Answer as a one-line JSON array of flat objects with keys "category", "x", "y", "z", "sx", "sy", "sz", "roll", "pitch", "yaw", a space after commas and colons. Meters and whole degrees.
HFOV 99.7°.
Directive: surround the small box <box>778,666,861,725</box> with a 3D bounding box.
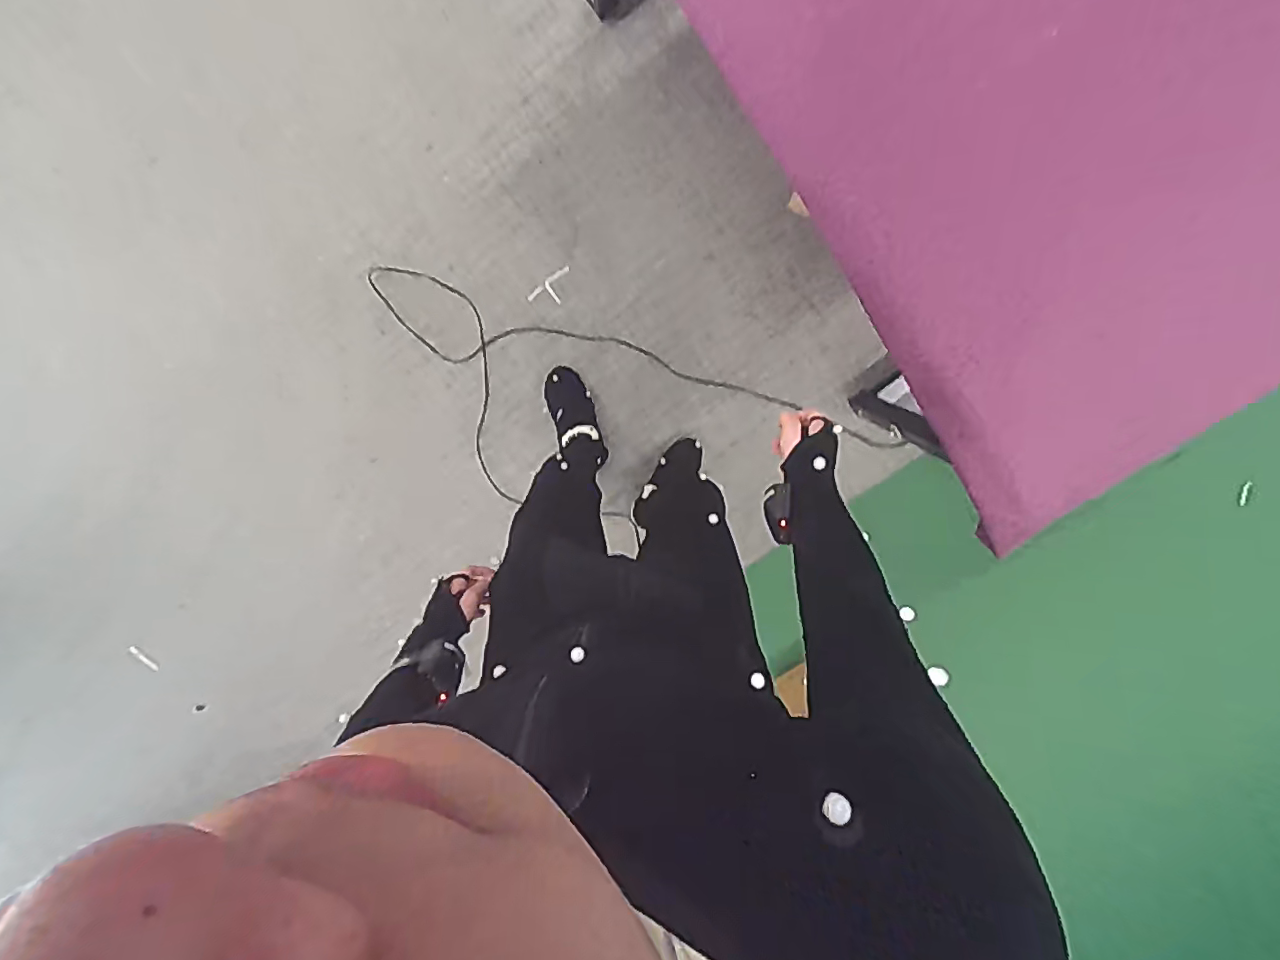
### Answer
[{"category": "small box", "x": 0.566, "y": 0.724, "z": 1.722, "sx": 0.168, "sy": 0.176, "sz": 0.179, "roll": -37, "pitch": 107, "yaw": 10}]
